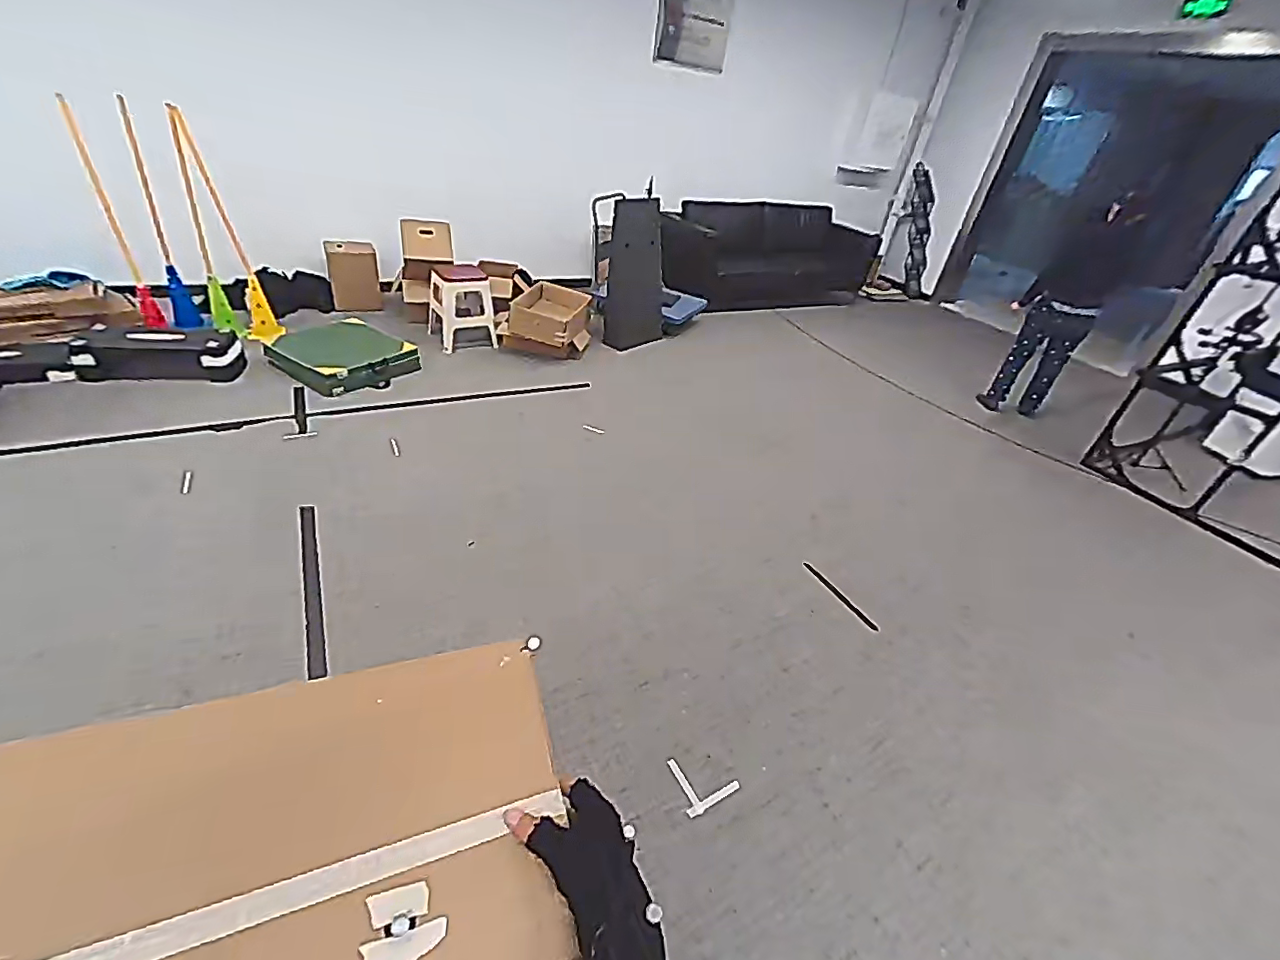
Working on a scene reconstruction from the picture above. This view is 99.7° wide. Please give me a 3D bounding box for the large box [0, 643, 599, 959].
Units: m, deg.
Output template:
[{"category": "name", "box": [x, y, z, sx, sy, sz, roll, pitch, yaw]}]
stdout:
[{"category": "large box", "box": [-0.297, 0.403, 0.537, 0.408, 0.320, 0.320, -5, 57, -24]}]
